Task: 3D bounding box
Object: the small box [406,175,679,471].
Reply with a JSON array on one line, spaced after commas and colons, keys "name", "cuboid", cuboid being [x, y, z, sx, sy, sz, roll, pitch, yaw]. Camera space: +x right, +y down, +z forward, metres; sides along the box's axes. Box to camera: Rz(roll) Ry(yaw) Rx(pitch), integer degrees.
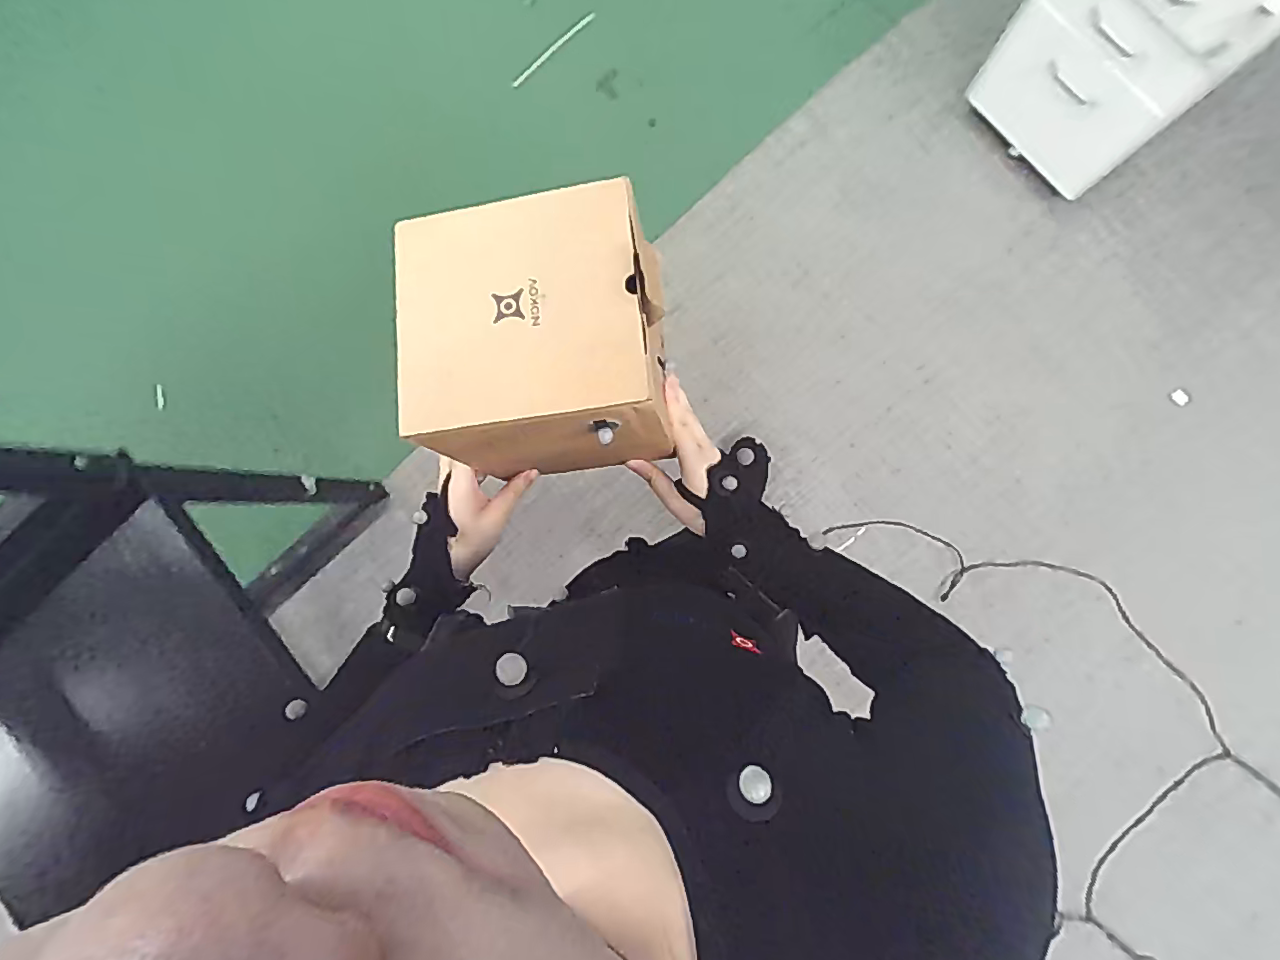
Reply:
[{"name": "small box", "cuboid": [-0.067, -0.108, 0.446, 0.179, 0.176, 0.168, -7, 79, 7]}]
